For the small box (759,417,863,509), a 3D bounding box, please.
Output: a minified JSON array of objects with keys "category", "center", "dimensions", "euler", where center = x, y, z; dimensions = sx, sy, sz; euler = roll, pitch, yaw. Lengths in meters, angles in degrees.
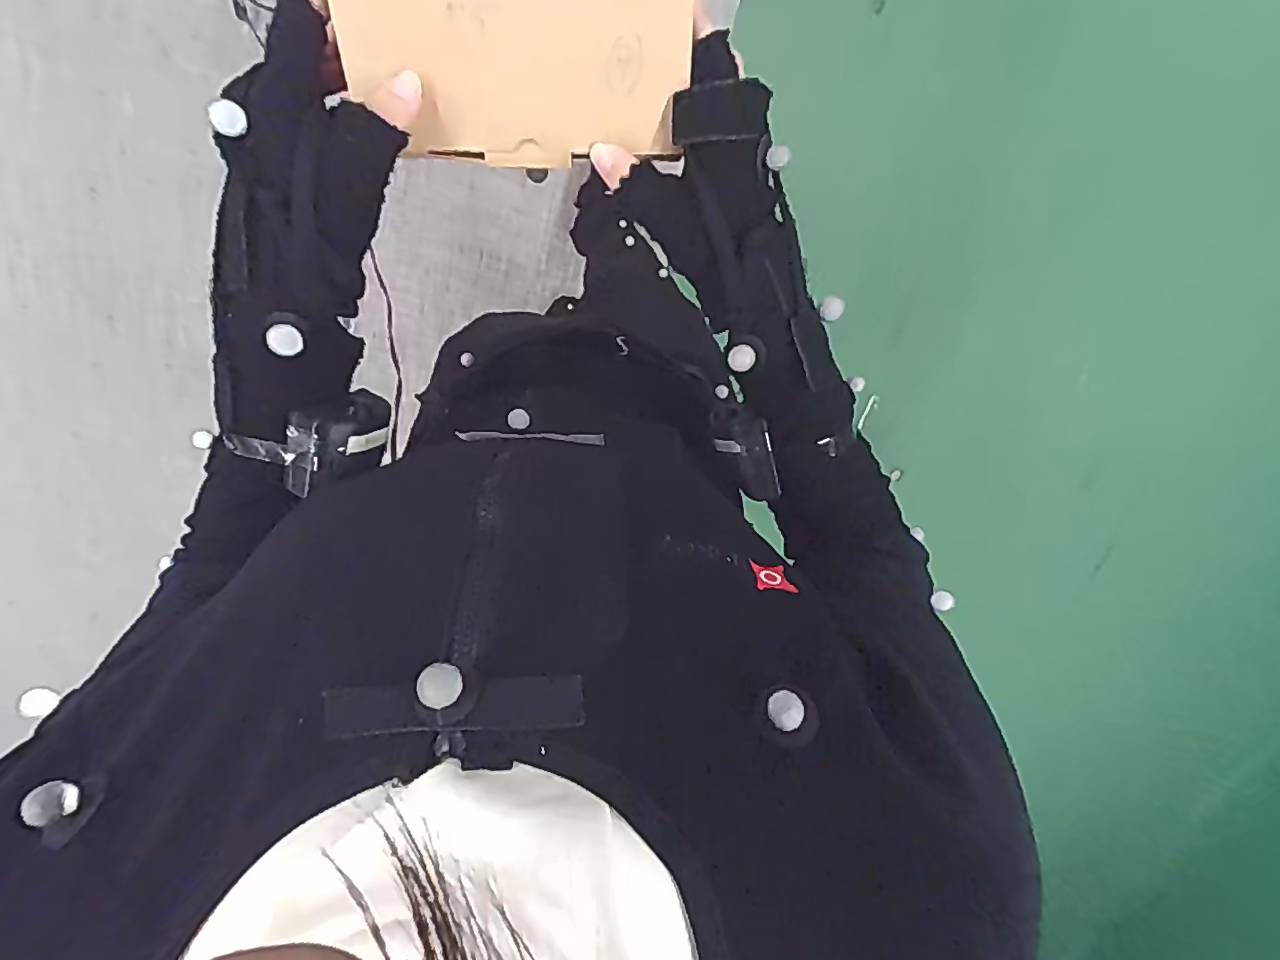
[{"category":"small box","center":[0.442,-0.051,1.435],"dimensions":[0.179,0.176,0.168],"euler":[18,112,-16]}]
